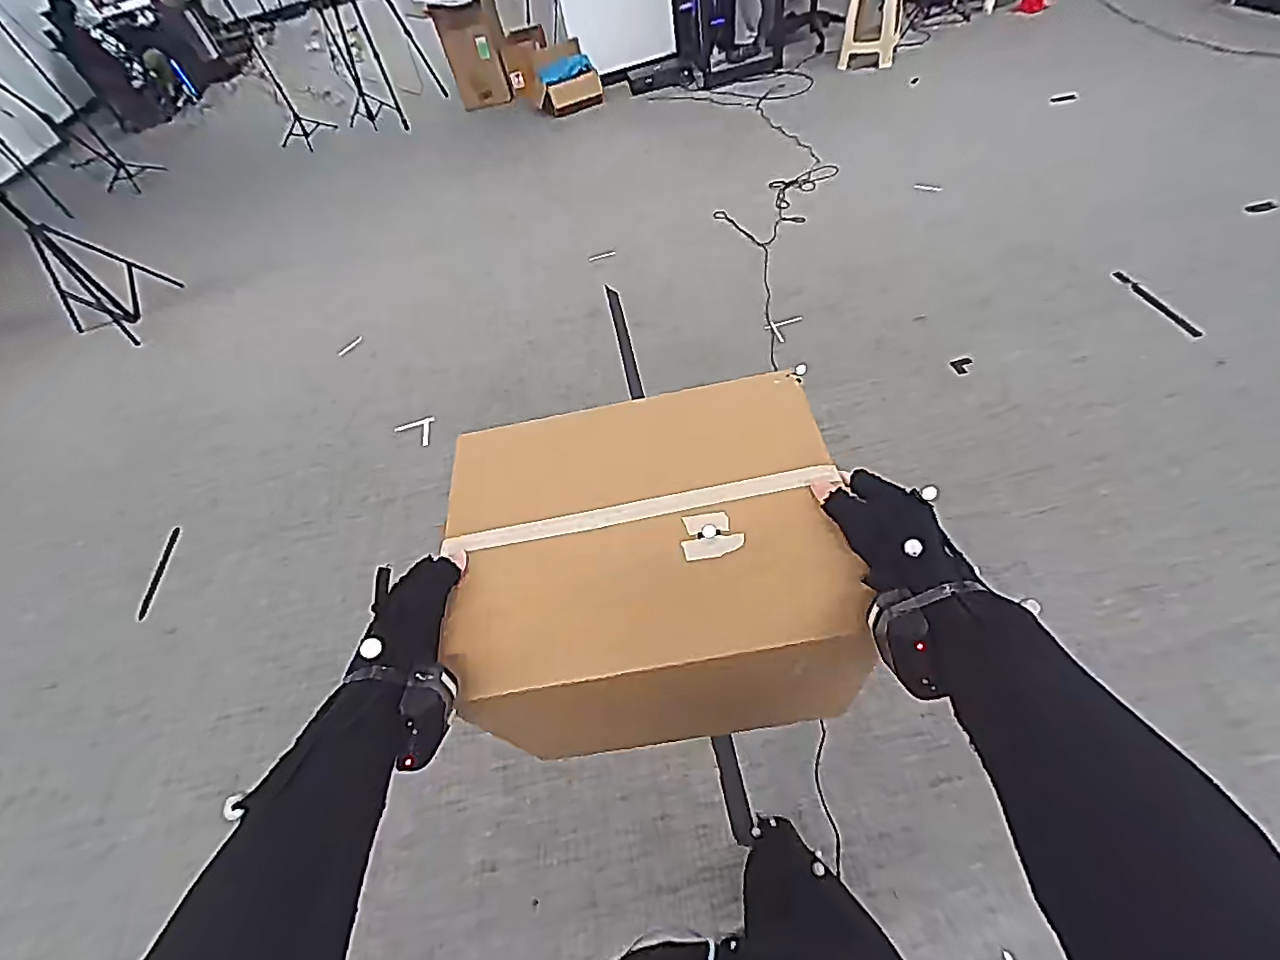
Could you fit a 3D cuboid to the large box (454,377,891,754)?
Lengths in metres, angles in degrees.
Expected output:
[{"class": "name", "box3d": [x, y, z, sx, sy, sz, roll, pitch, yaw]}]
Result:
[{"class": "large box", "box3d": [0.028, 0.121, 0.681, 0.408, 0.320, 0.320, -11, 54, 3]}]
